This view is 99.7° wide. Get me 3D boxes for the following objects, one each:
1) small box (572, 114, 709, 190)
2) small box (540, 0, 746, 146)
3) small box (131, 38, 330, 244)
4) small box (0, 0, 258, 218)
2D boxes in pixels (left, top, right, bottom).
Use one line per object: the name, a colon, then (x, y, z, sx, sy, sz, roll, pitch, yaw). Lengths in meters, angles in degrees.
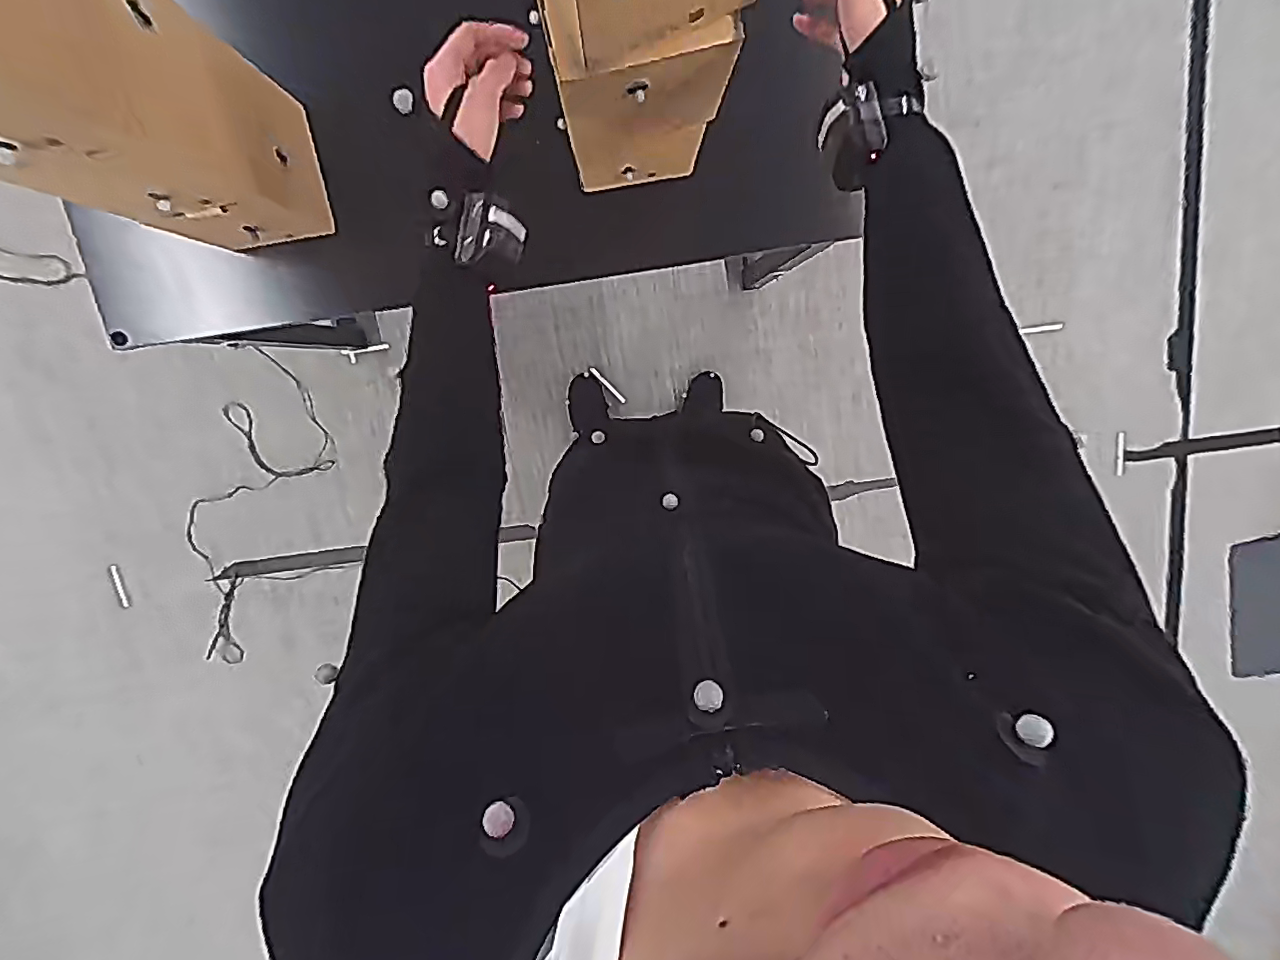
small box: (-0.014, -0.510, 0.707, 0.168, 0.176, 0.179, -10, 102, 0)
small box: (-0.008, -0.471, 0.547, 0.179, 0.176, 0.168, -13, 102, 0)
small box: (-0.544, -0.421, 0.708, 0.168, 0.176, 0.179, -10, 102, 0)
small box: (-0.538, -0.390, 0.546, 0.168, 0.176, 0.179, -9, 102, 1)
